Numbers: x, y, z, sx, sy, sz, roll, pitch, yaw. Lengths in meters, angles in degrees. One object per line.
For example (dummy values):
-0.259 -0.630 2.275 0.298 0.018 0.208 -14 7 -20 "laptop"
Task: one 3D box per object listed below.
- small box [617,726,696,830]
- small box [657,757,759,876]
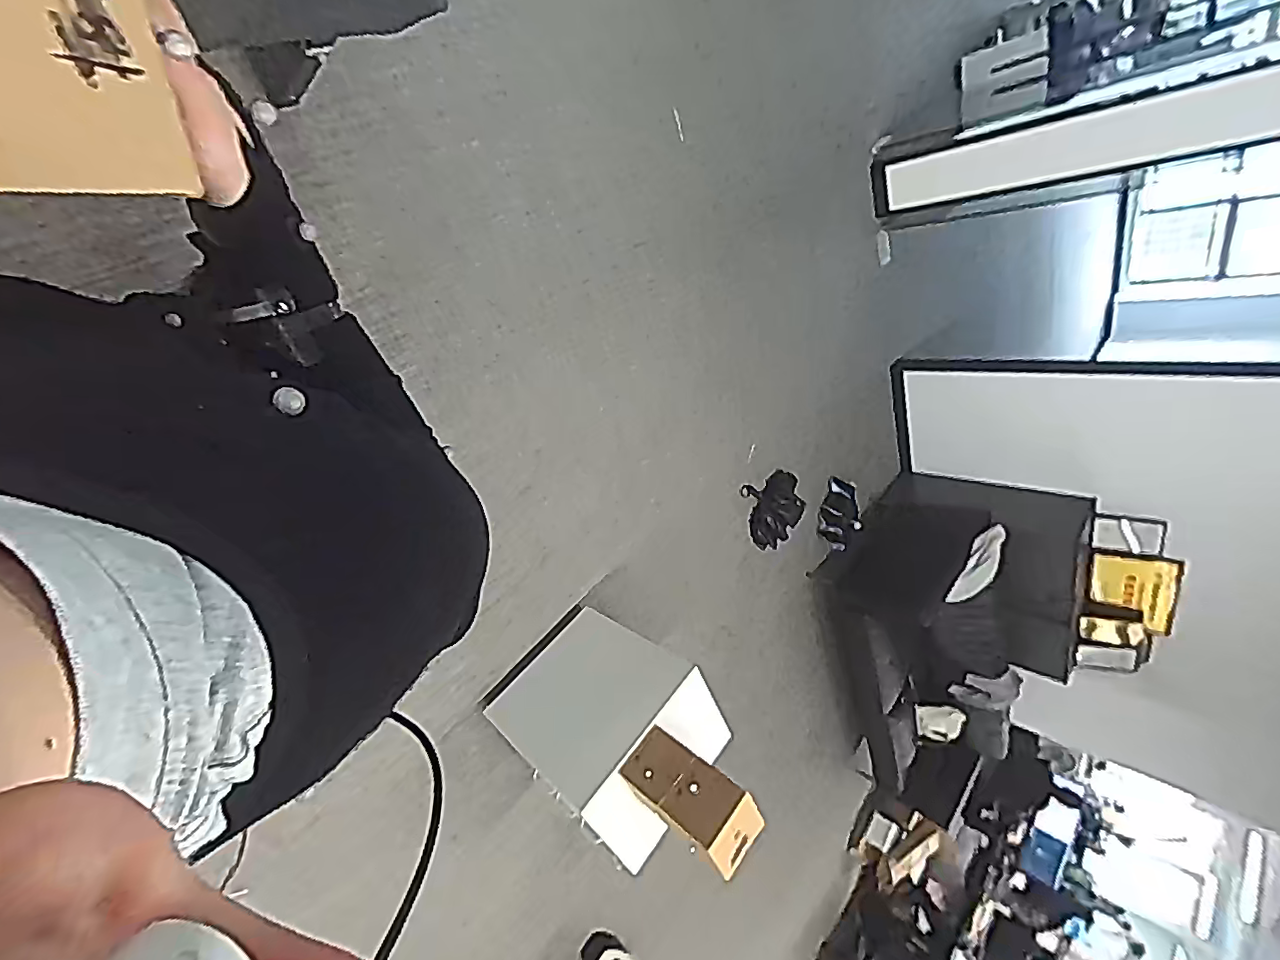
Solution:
0.063 0.821 1.504 0.168 0.176 0.179 -43 128 -27 "small box"
0.174 0.853 1.387 0.168 0.176 0.179 -42 125 -28 "small box"
